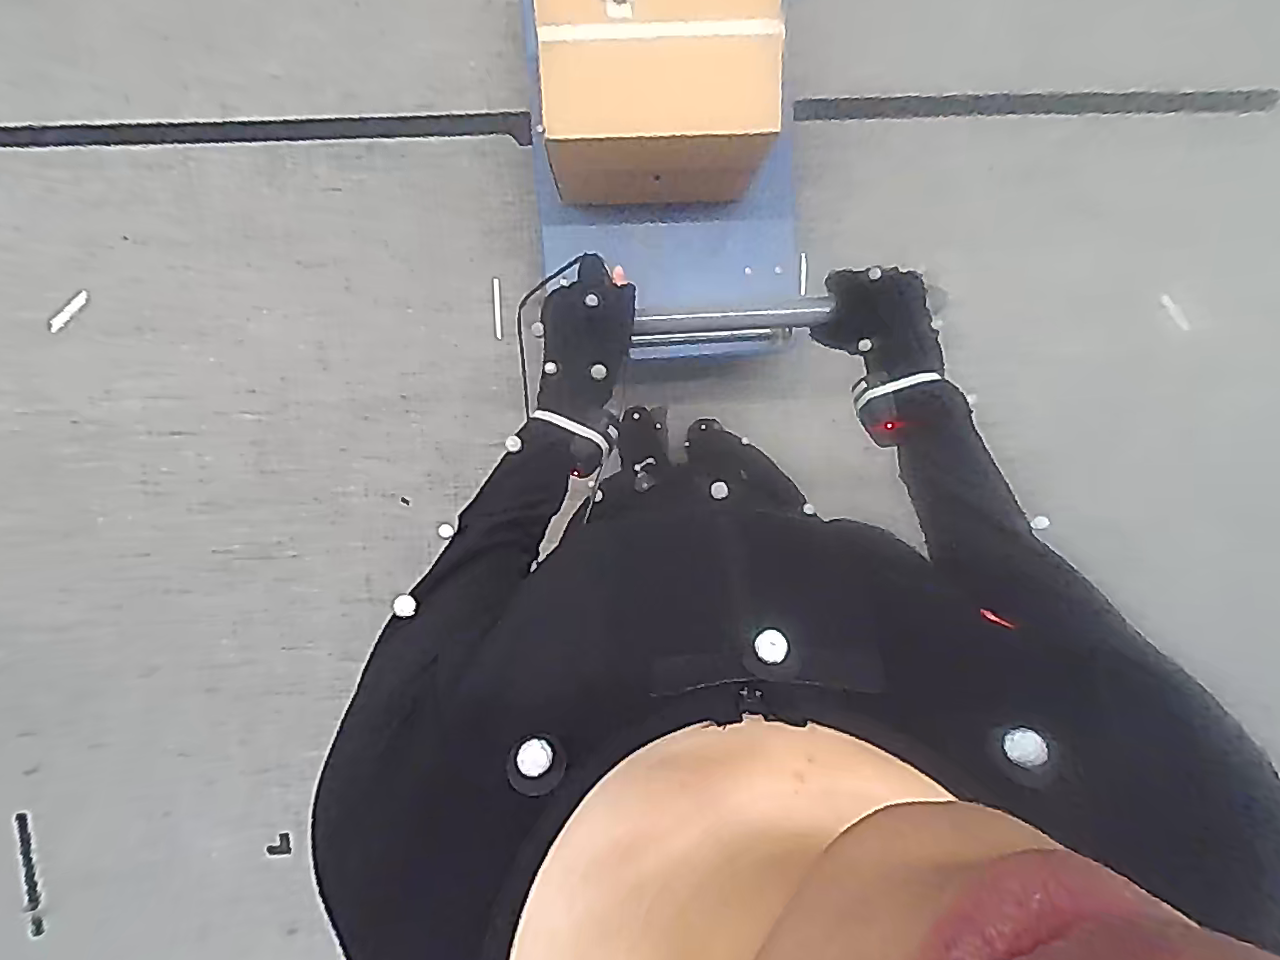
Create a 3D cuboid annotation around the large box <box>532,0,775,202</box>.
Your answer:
[{"bbox_3d":[0.023,-0.756,1.041,0.408,0.320,0.320,-3,98,-1],"label":"large box"}]
